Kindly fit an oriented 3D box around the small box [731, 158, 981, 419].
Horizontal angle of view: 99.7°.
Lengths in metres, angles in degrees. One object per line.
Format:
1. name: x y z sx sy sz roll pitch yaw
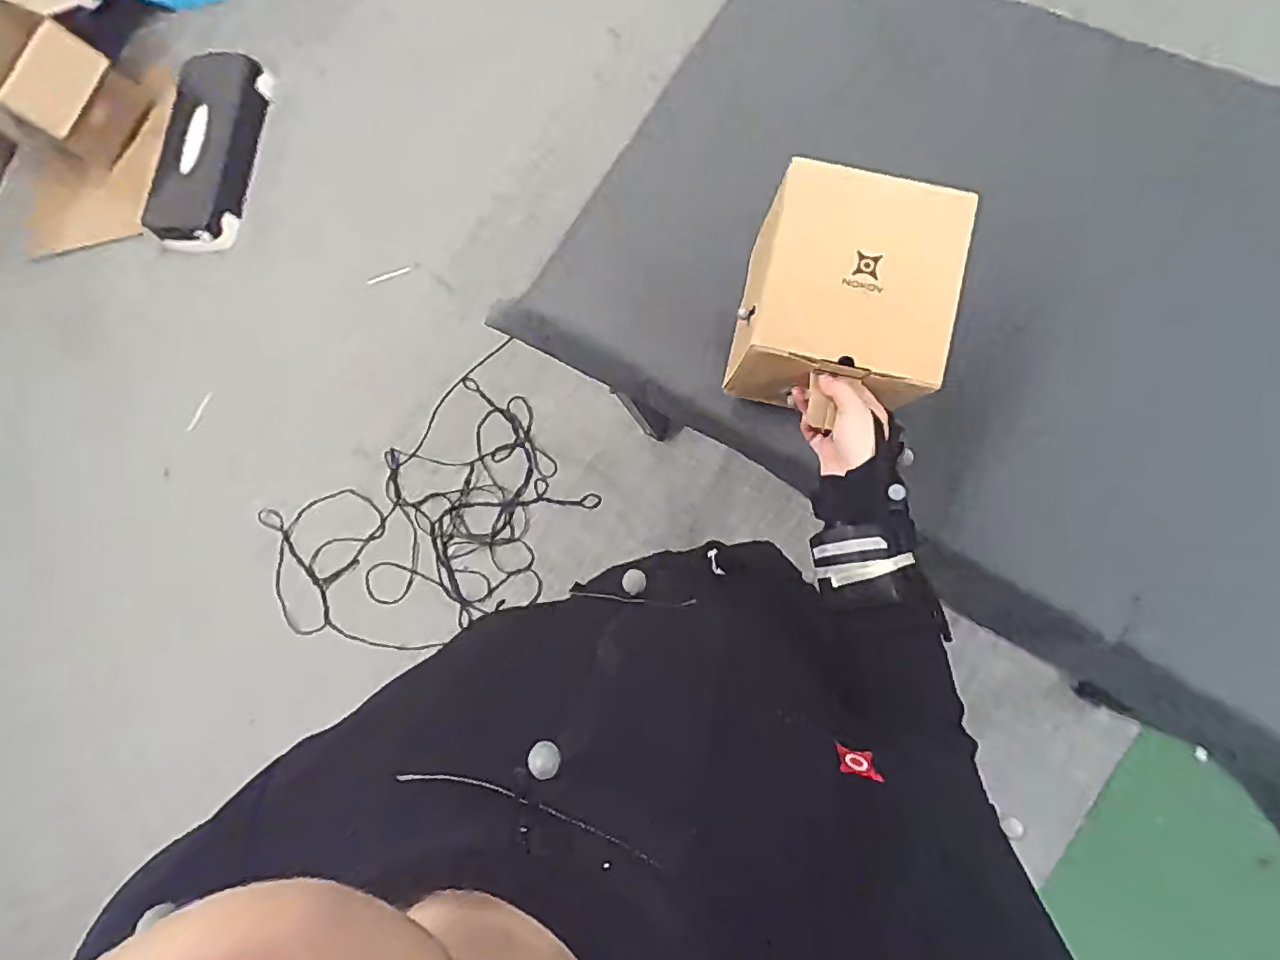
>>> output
1. small box: 0.196 -0.173 0.540 0.168 0.176 0.179 12 87 1
